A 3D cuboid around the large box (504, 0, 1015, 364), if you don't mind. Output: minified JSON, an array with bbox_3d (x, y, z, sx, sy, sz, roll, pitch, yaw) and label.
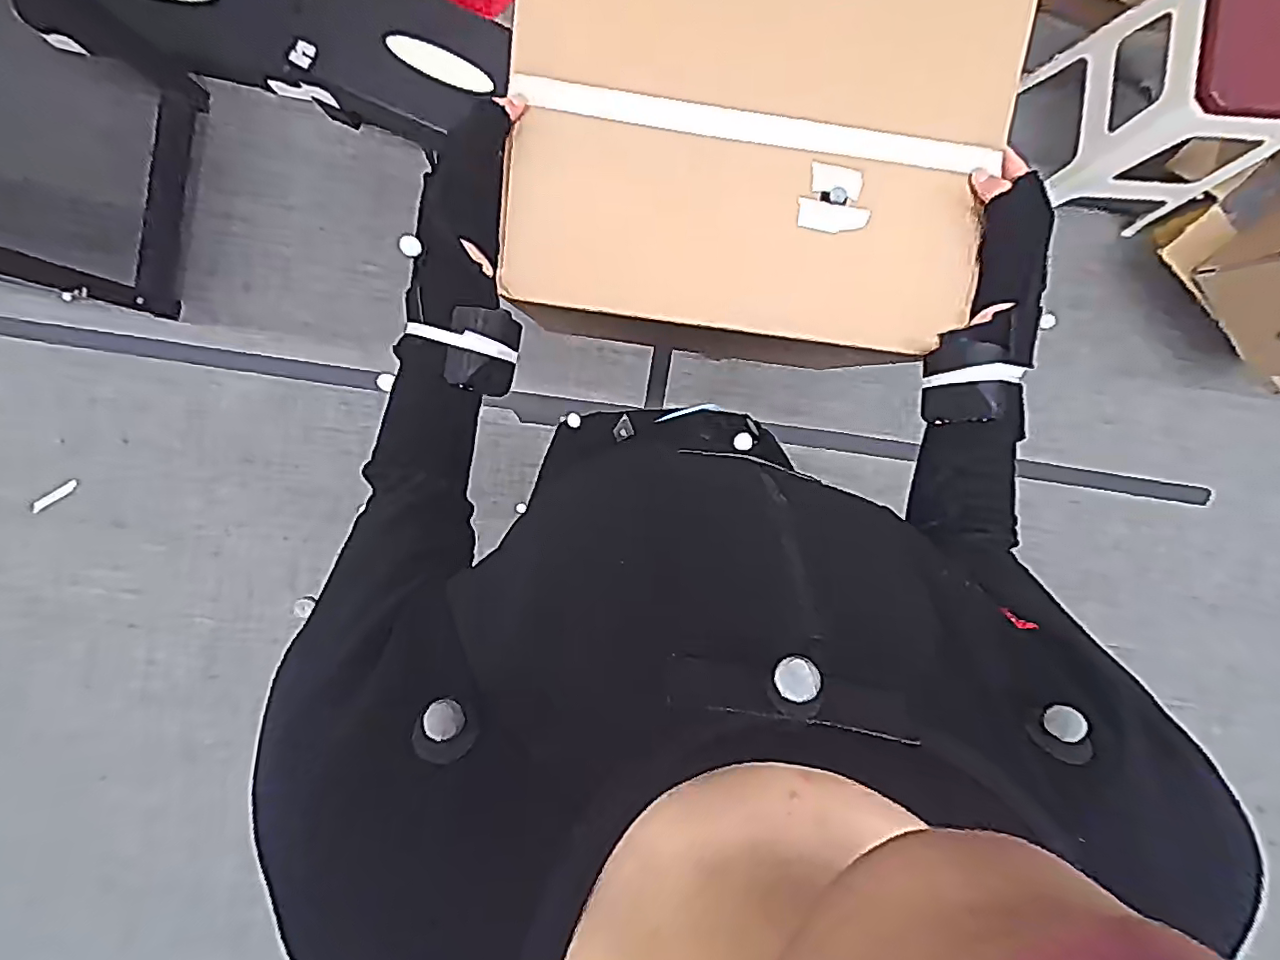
[{"bbox_3d":[0.086,-0.311,0.598,0.408,0.320,0.320,7,101,-5],"label":"large box"}]
